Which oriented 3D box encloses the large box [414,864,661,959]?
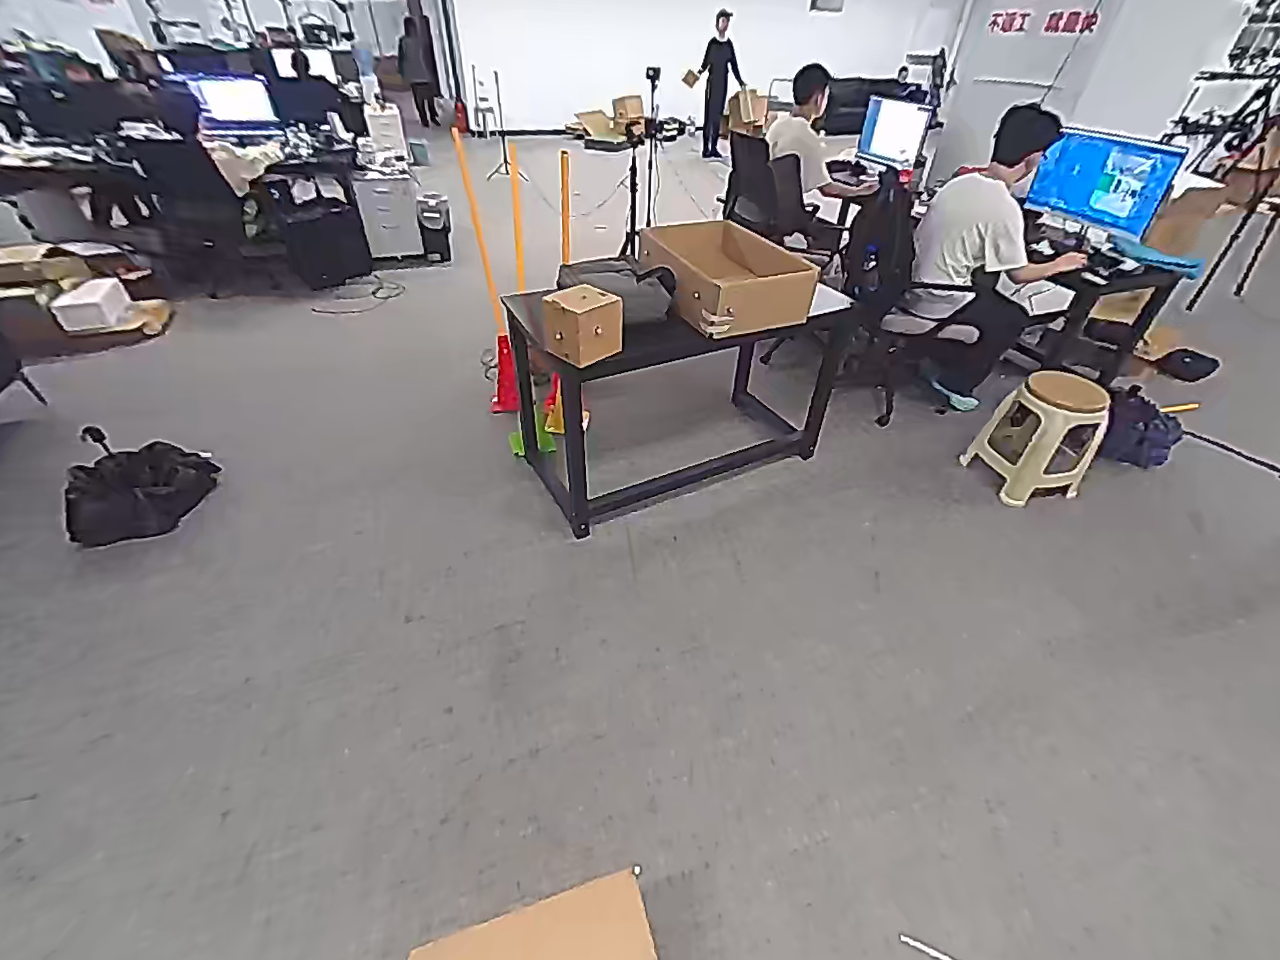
[{"bbox_3d":[-0.154,0.973,0.957,0.408,0.320,0.320,-11,42,-15],"label":"large box"}]
